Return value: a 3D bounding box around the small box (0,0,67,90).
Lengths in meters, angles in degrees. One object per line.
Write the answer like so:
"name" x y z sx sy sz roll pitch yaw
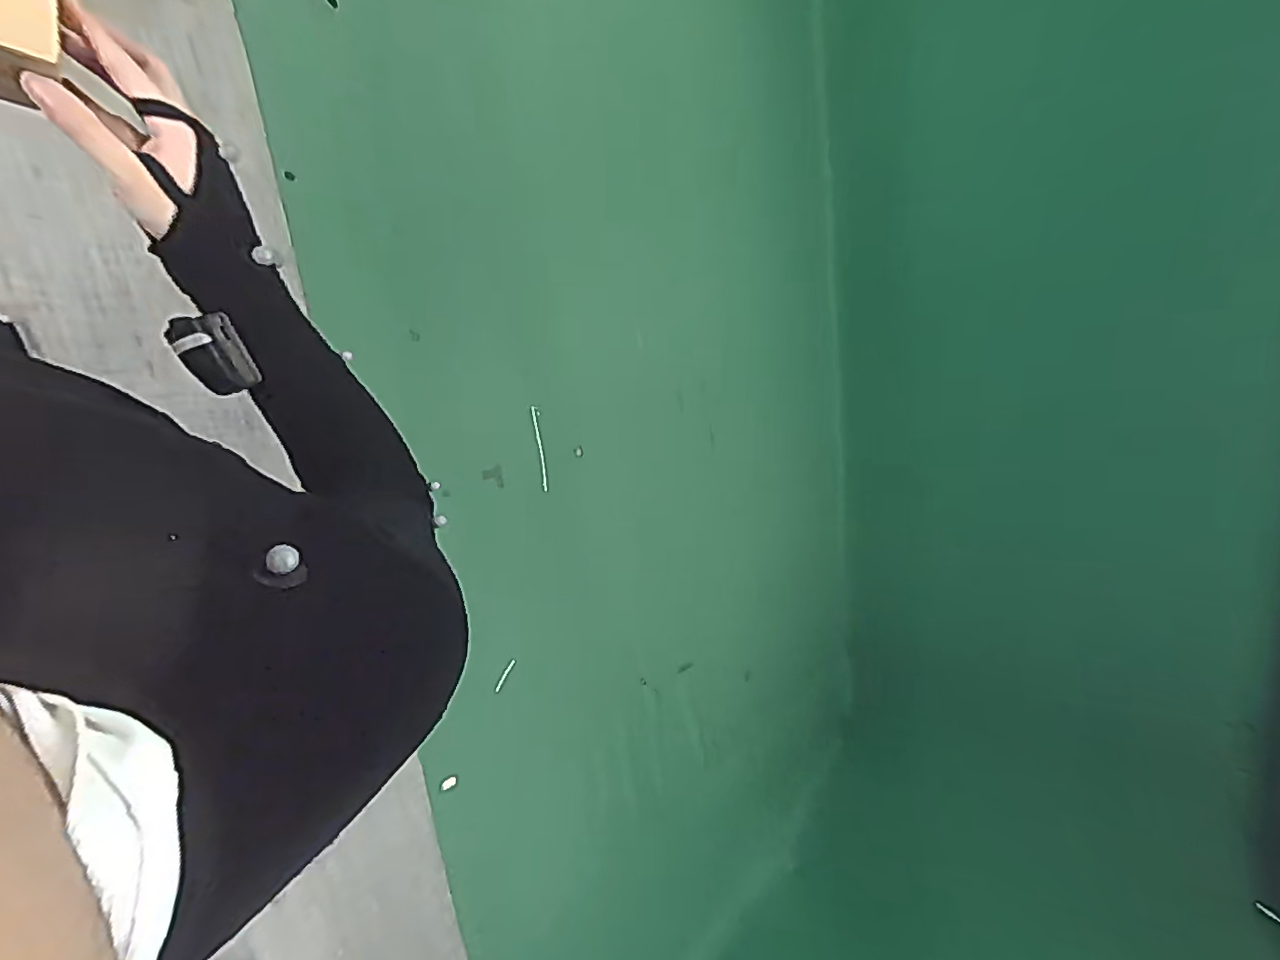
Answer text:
"small box" -0.453 -0.353 0.303 0.179 0.176 0.168 -2 108 -43
